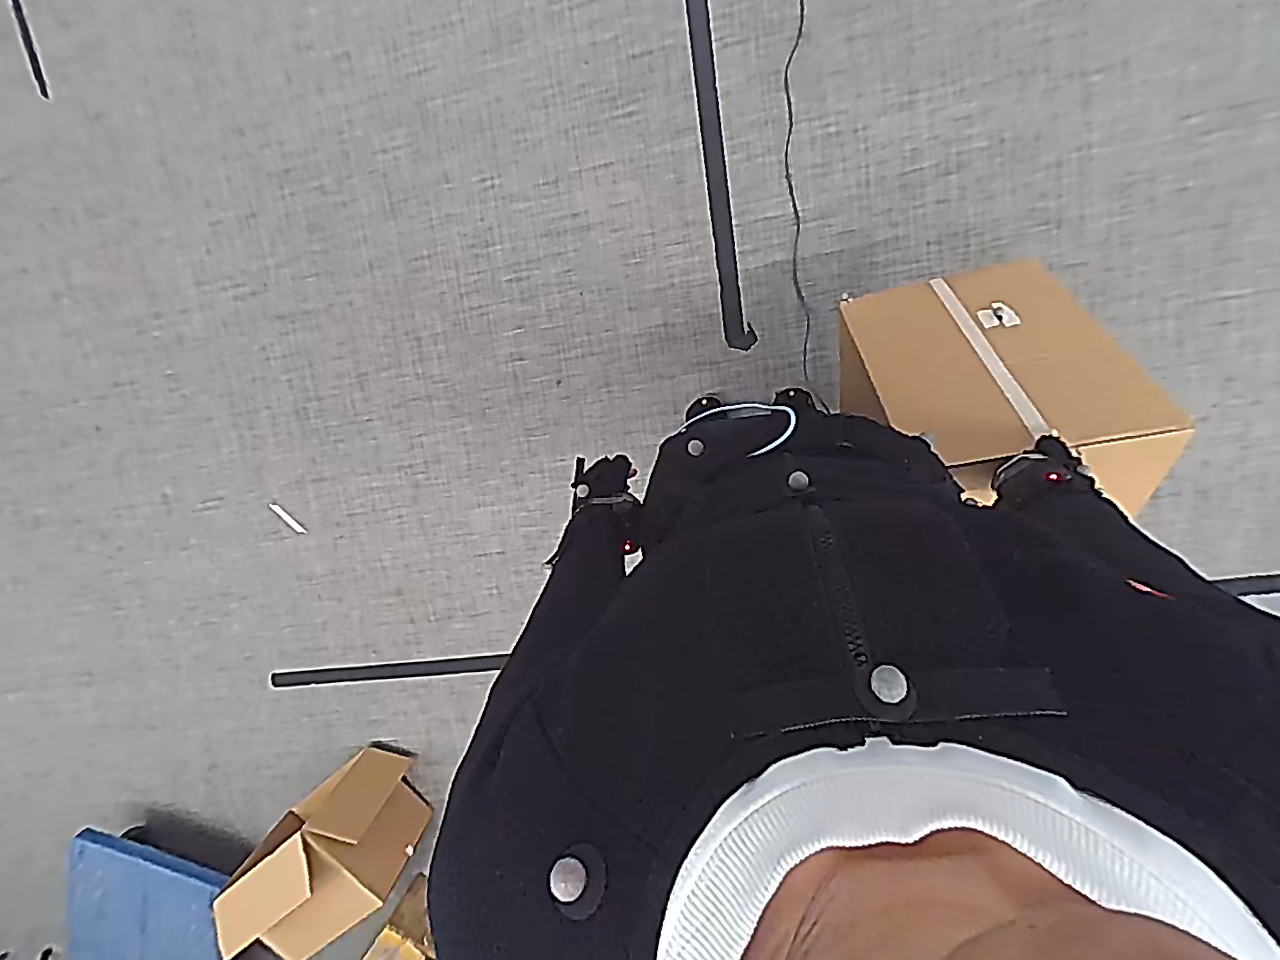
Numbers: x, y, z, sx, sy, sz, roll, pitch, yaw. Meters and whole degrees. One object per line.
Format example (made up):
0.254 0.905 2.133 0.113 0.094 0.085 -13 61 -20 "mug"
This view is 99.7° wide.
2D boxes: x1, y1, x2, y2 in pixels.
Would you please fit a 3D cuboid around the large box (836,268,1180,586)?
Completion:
0.540 -0.086 0.911 0.320 0.408 0.320 -10 137 10 "large box"
